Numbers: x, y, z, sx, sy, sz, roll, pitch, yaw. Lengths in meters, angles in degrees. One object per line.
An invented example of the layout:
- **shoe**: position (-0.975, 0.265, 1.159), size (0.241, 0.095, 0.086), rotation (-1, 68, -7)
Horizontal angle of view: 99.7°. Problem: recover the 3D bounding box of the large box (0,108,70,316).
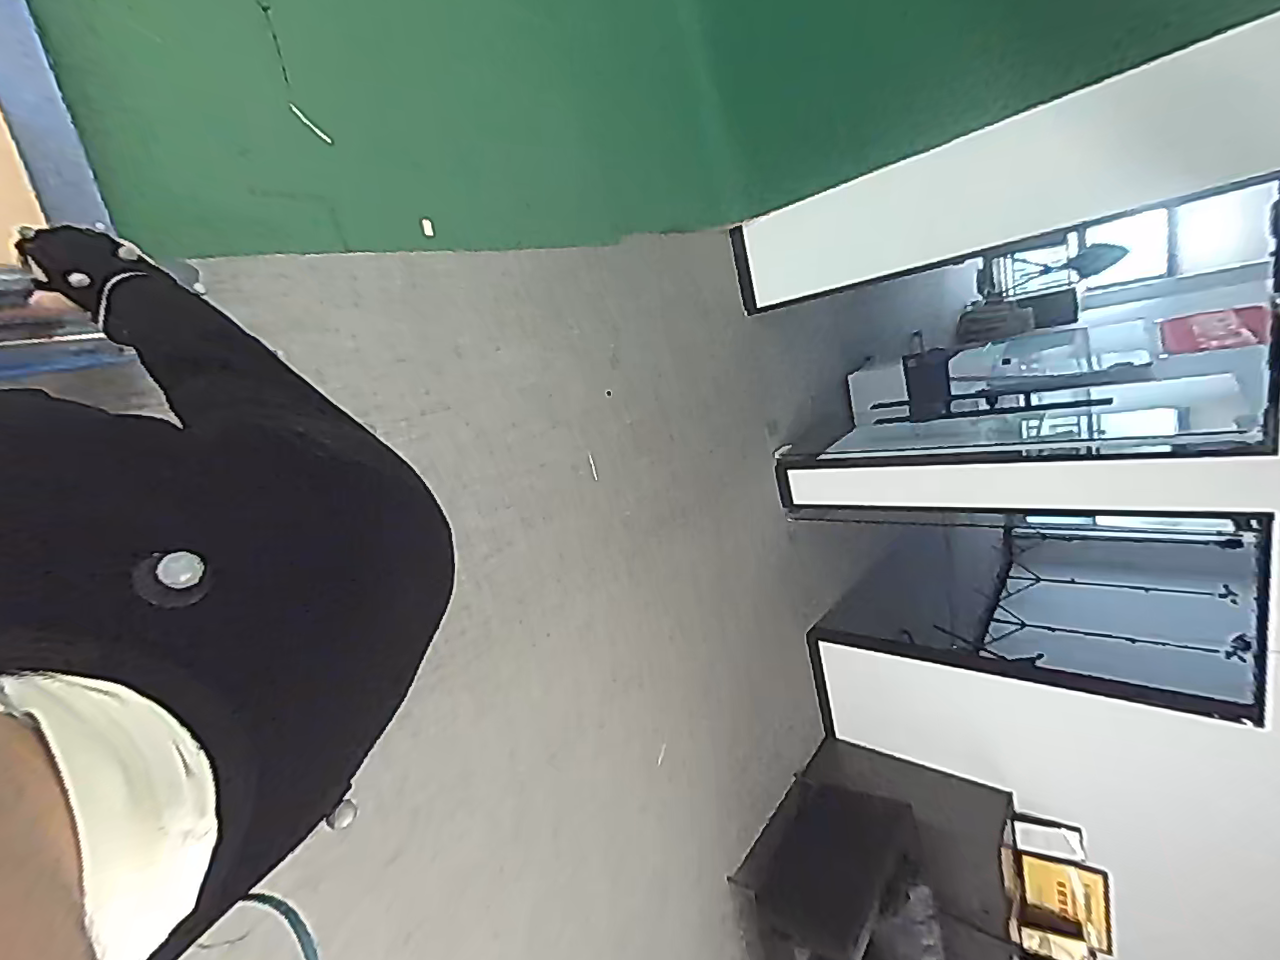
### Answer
- **large box**: position (-1.136, -0.466, 0.794), size (0.320, 0.320, 0.408), rotation (-24, 106, -44)
